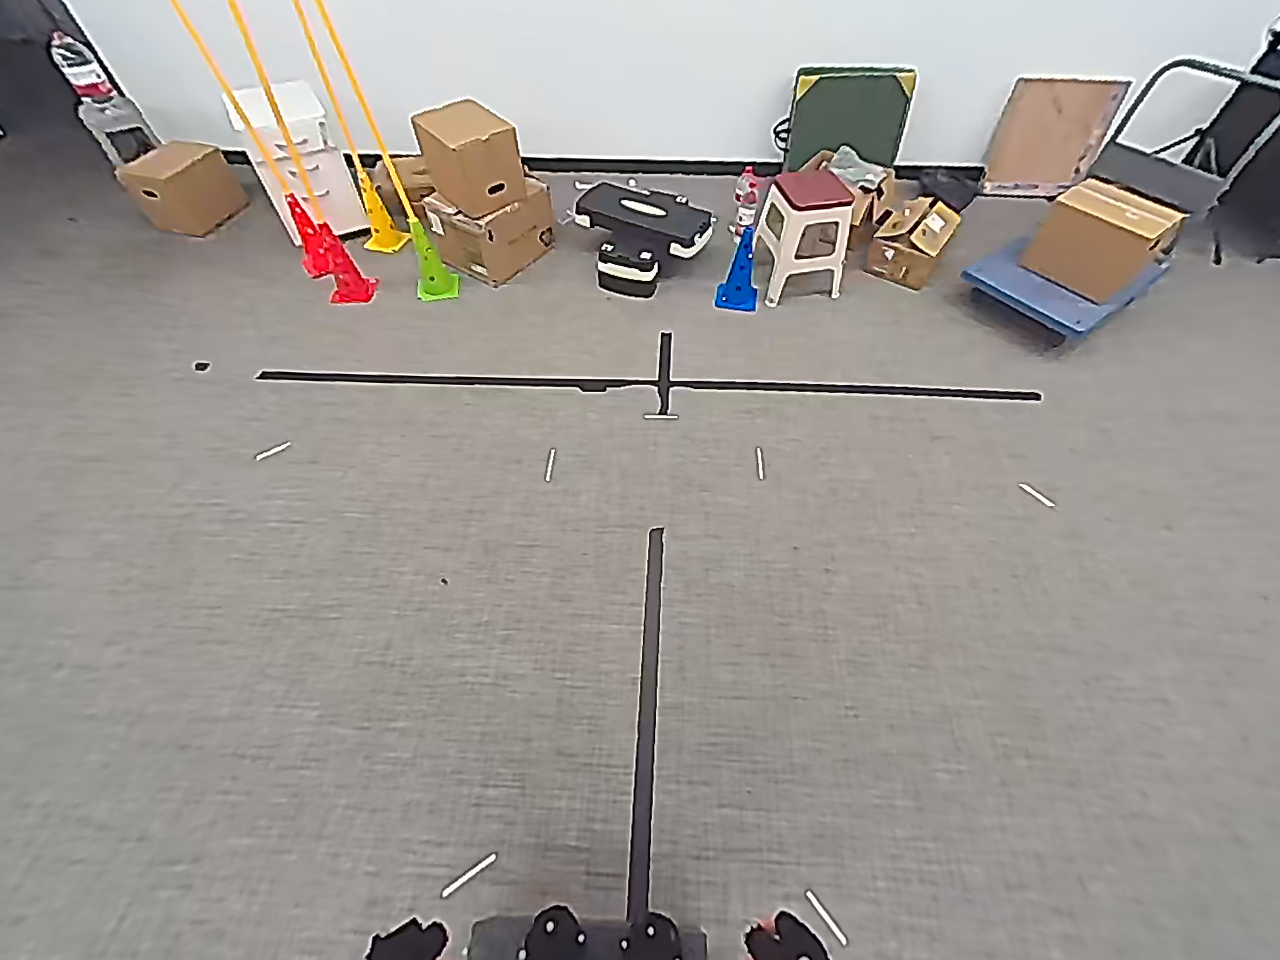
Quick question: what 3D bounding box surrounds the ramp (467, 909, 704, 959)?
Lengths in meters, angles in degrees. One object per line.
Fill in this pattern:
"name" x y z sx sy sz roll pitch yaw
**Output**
"ramp" -0.127 1.362 0.917 0.509 0.206 0.991 2 54 -1
